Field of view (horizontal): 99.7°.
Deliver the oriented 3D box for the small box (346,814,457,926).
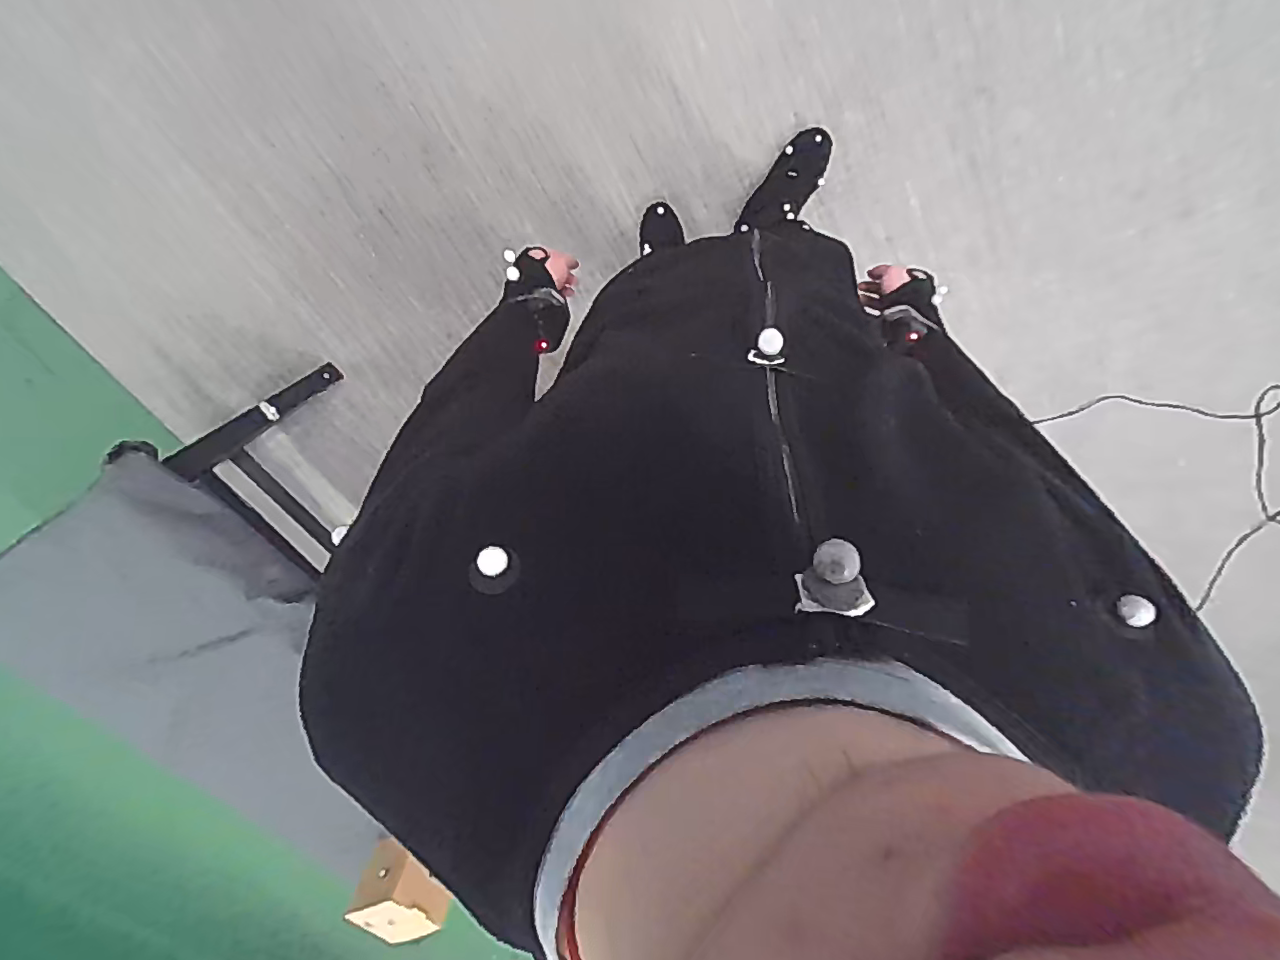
[{"bbox_3d":[-0.596,0.993,1.384,0.179,0.176,0.168,-30,114,18],"label":"small box"}]
